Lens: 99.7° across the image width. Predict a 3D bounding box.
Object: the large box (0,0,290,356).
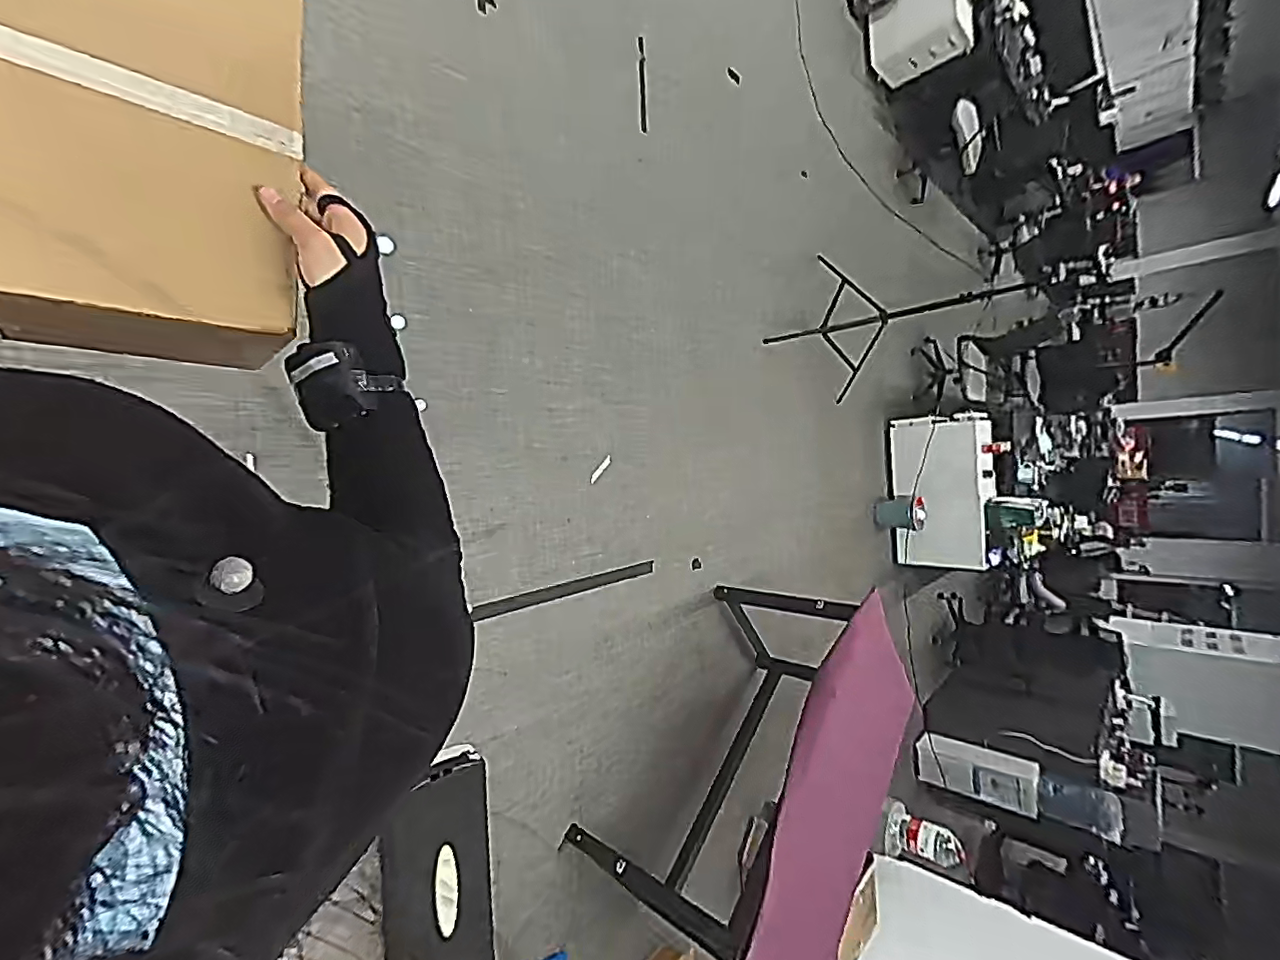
[{"bbox_3d":[-0.548,-0.294,0.449,0.408,0.320,0.320,0,93,-40],"label":"large box"}]
